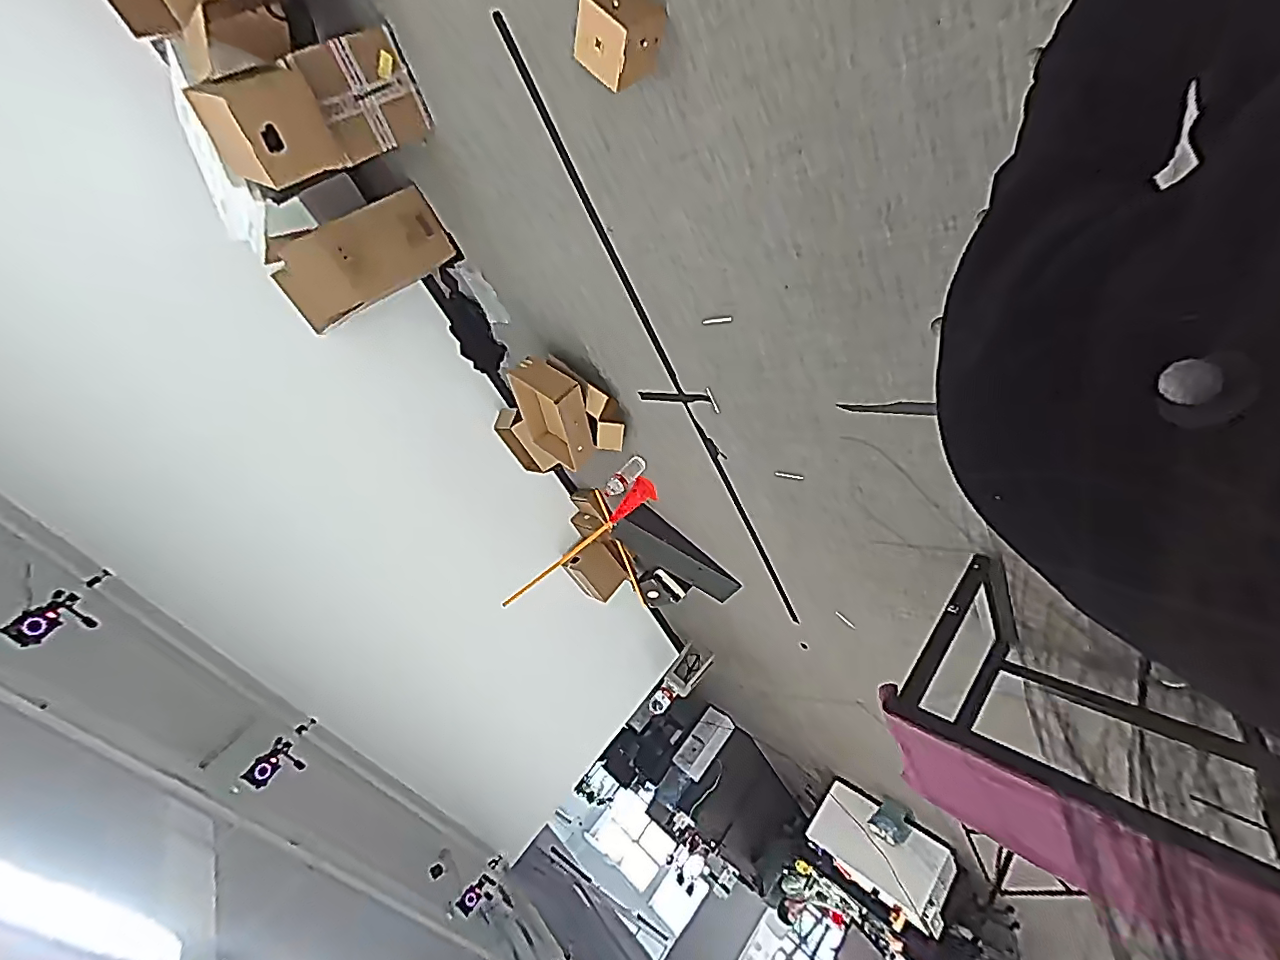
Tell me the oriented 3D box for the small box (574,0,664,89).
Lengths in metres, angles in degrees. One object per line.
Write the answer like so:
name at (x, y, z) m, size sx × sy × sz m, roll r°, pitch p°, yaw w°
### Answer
small box at (-0.058, -1.254, 1.511) m, size 0.179 × 0.176 × 0.168 m, roll 44°, pitch 155°, yaw 5°
